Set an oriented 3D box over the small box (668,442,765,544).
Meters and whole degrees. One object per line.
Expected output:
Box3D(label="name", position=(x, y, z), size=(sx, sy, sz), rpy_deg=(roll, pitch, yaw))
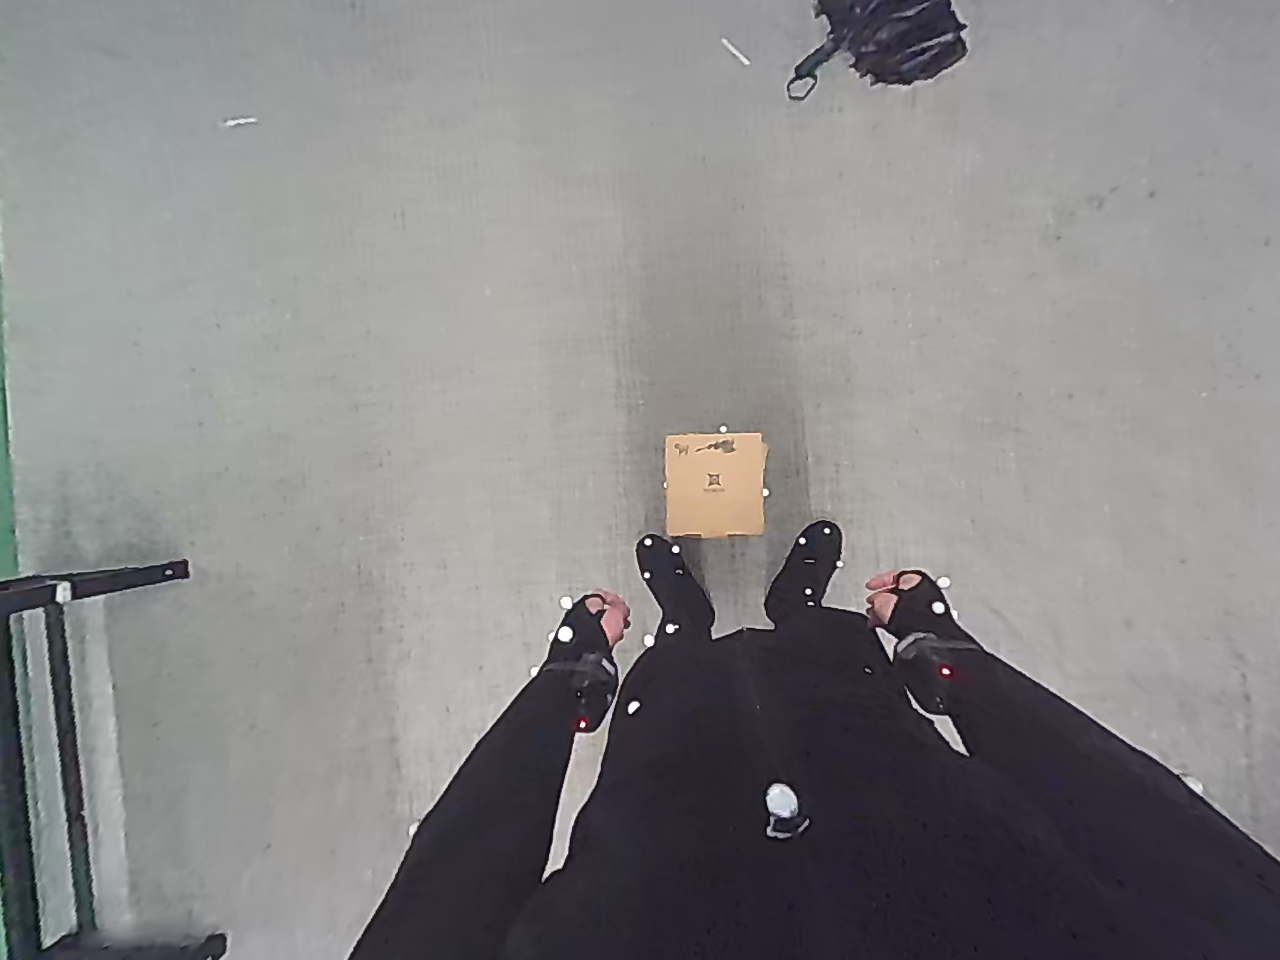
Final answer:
Box3D(label="small box", position=(0.143, 0.019, 1.004), size=(0.168, 0.176, 0.179), rpy_deg=(0, 91, 9))
